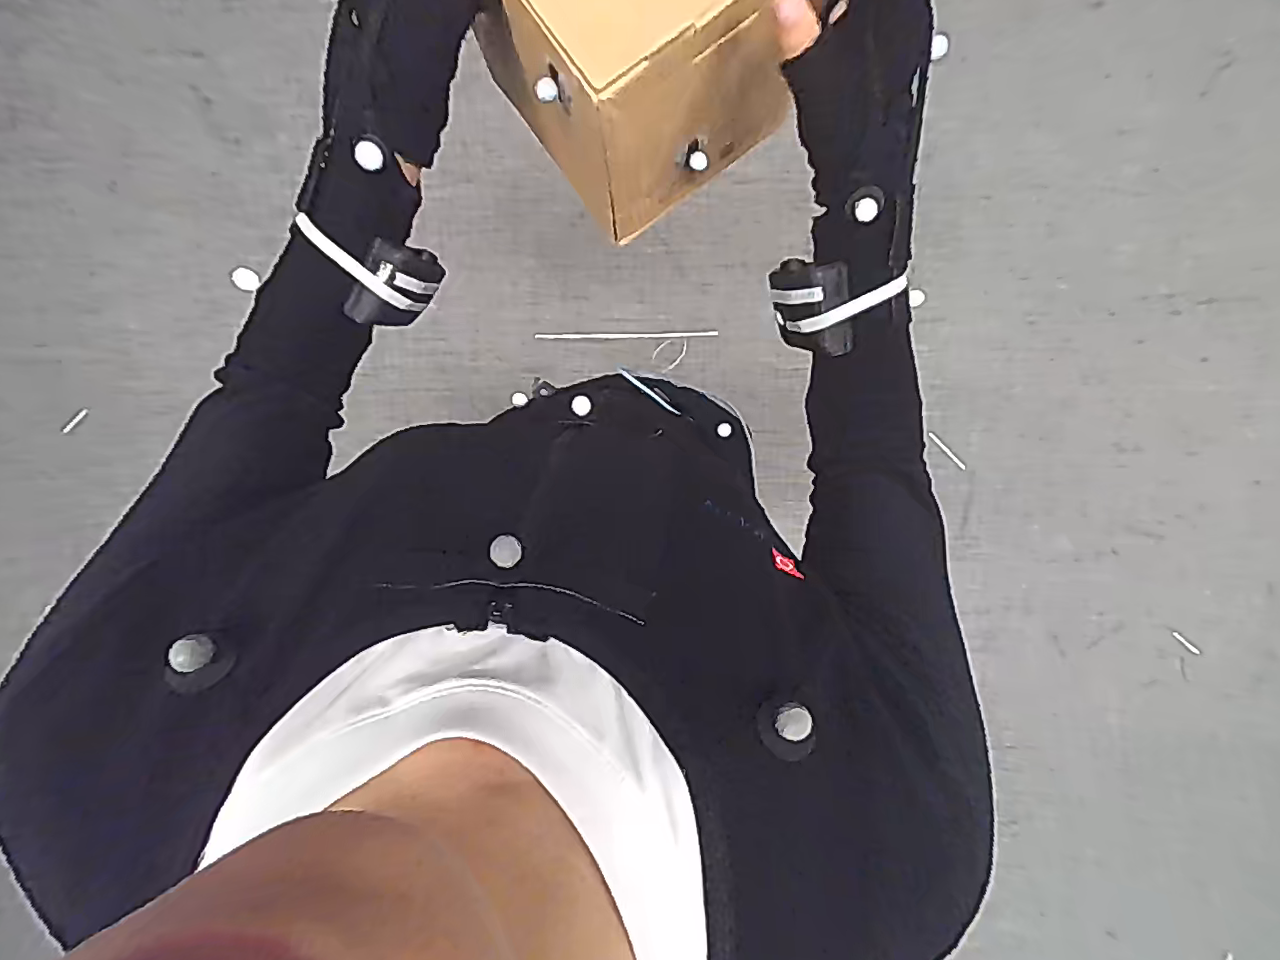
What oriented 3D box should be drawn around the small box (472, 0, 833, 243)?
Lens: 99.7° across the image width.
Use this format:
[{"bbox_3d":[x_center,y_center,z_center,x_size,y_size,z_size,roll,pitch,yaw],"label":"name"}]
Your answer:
[{"bbox_3d":[-0.003,-0.301,0.359,0.168,0.176,0.179,-35,89,0],"label":"small box"}]
